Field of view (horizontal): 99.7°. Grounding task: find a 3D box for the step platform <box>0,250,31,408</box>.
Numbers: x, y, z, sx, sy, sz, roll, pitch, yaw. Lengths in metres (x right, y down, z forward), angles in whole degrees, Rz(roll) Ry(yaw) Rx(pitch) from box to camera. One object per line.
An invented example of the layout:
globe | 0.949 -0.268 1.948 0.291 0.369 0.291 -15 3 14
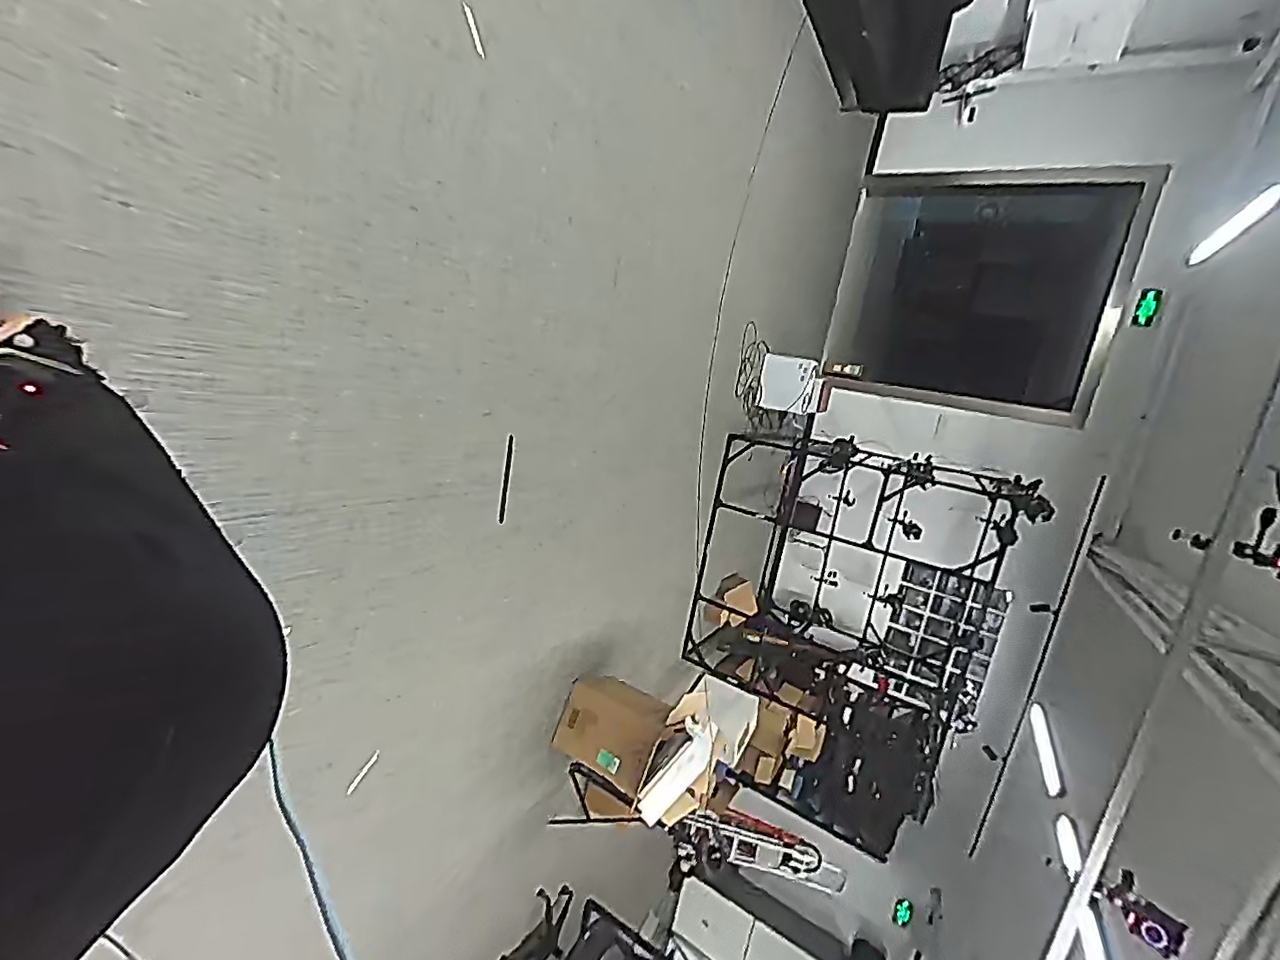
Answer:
step platform | -1.301 -0.273 0.698 0.684 0.204 0.286 2 101 -61
